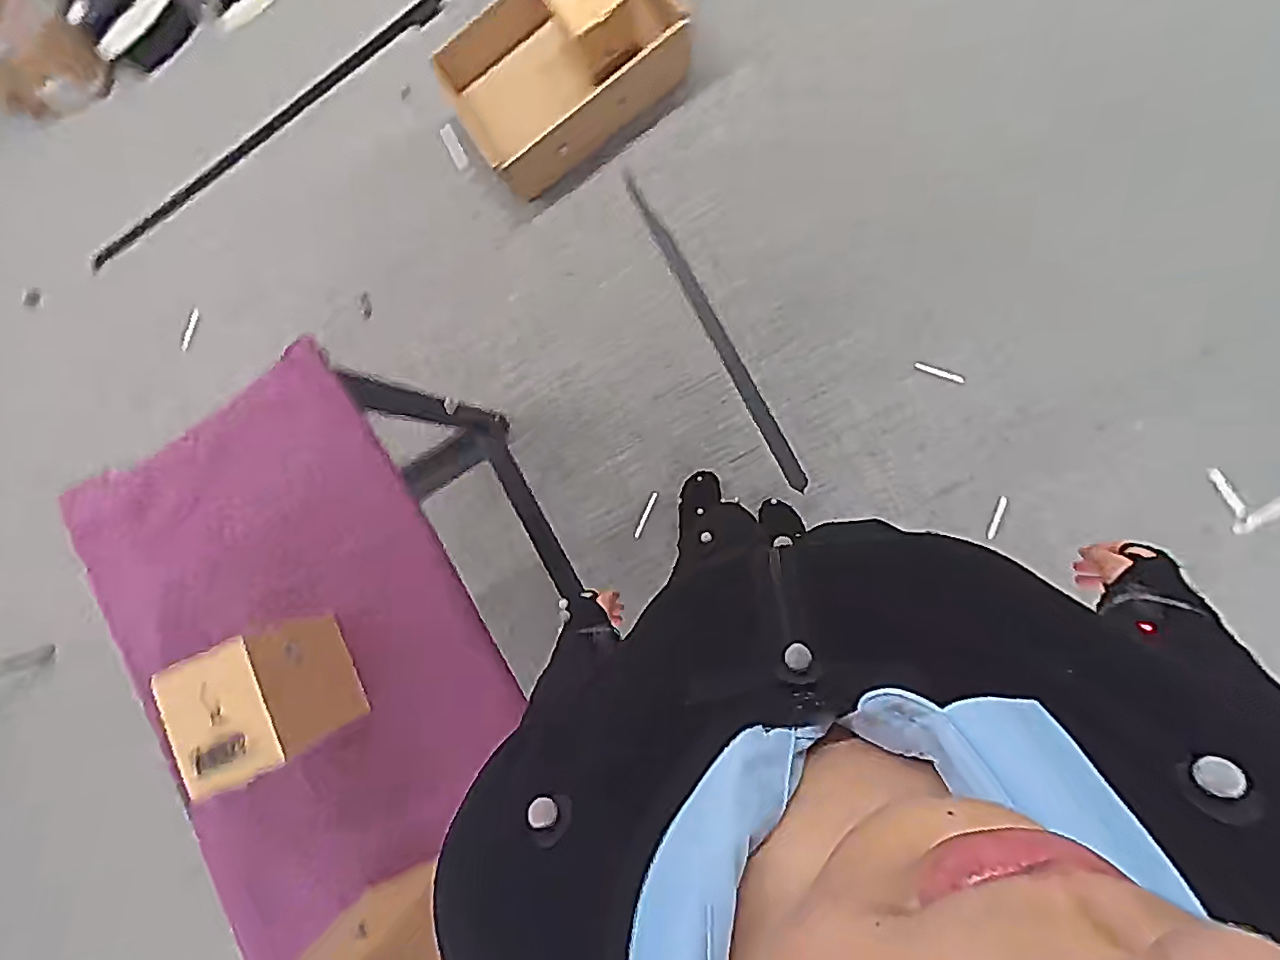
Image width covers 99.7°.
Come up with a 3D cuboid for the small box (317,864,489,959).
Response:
[{"bbox_3d":[-0.338,0.694,0.760,0.179,0.176,0.168,-30,83,8],"label":"small box"}]

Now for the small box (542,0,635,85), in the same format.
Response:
[{"bbox_3d":[-0.136,-1.224,1.449,0.168,0.176,0.179,-35,84,8],"label":"small box"}]
